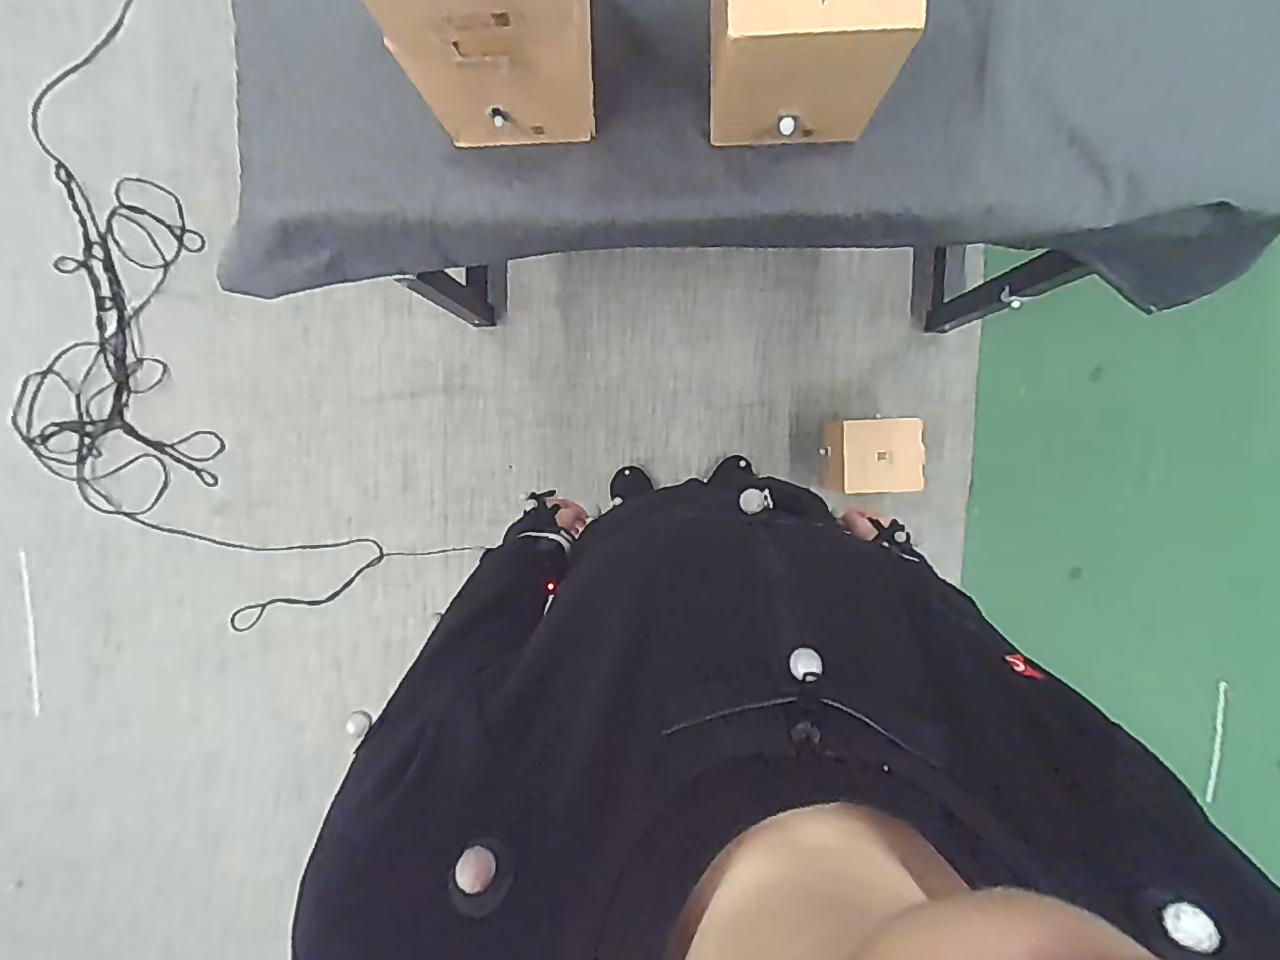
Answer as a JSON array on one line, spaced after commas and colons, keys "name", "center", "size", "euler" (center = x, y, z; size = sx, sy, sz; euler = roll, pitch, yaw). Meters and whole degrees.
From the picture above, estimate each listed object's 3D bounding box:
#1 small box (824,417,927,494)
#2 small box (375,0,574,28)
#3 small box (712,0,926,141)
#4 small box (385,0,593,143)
[{"name": "small box", "center": [0.545, -0.059, 1.267], "size": [0.179, 0.176, 0.168], "euler": [-3, 92, 4]}, {"name": "small box", "center": [-0.142, -0.463, 0.380], "size": [0.168, 0.176, 0.179], "euler": [-3, 95, 3]}, {"name": "small box", "center": [0.159, -0.467, 0.527], "size": [0.168, 0.176, 0.179], "euler": [0, 94, 3]}, {"name": "small box", "center": [-0.140, -0.477, 0.544], "size": [0.168, 0.176, 0.179], "euler": [-2, 94, 3]}]
